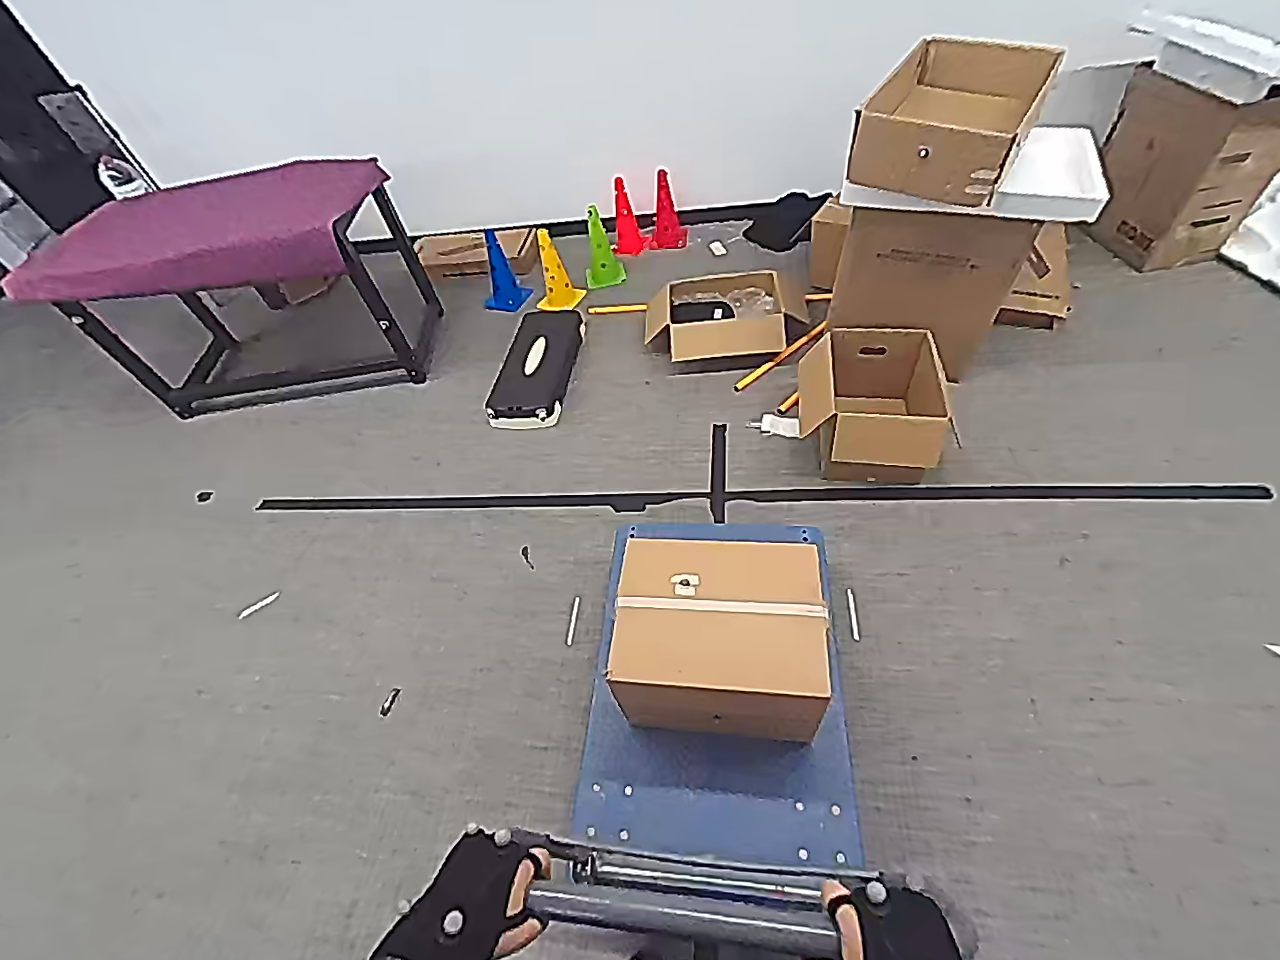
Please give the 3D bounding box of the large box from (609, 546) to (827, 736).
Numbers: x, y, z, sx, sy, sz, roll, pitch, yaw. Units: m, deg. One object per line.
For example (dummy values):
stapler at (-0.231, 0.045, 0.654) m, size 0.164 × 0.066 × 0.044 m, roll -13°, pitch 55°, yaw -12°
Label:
large box at (0.173, 0.356, 1.191) m, size 0.408 × 0.320 × 0.320 m, roll 0°, pitch 50°, yaw 11°
